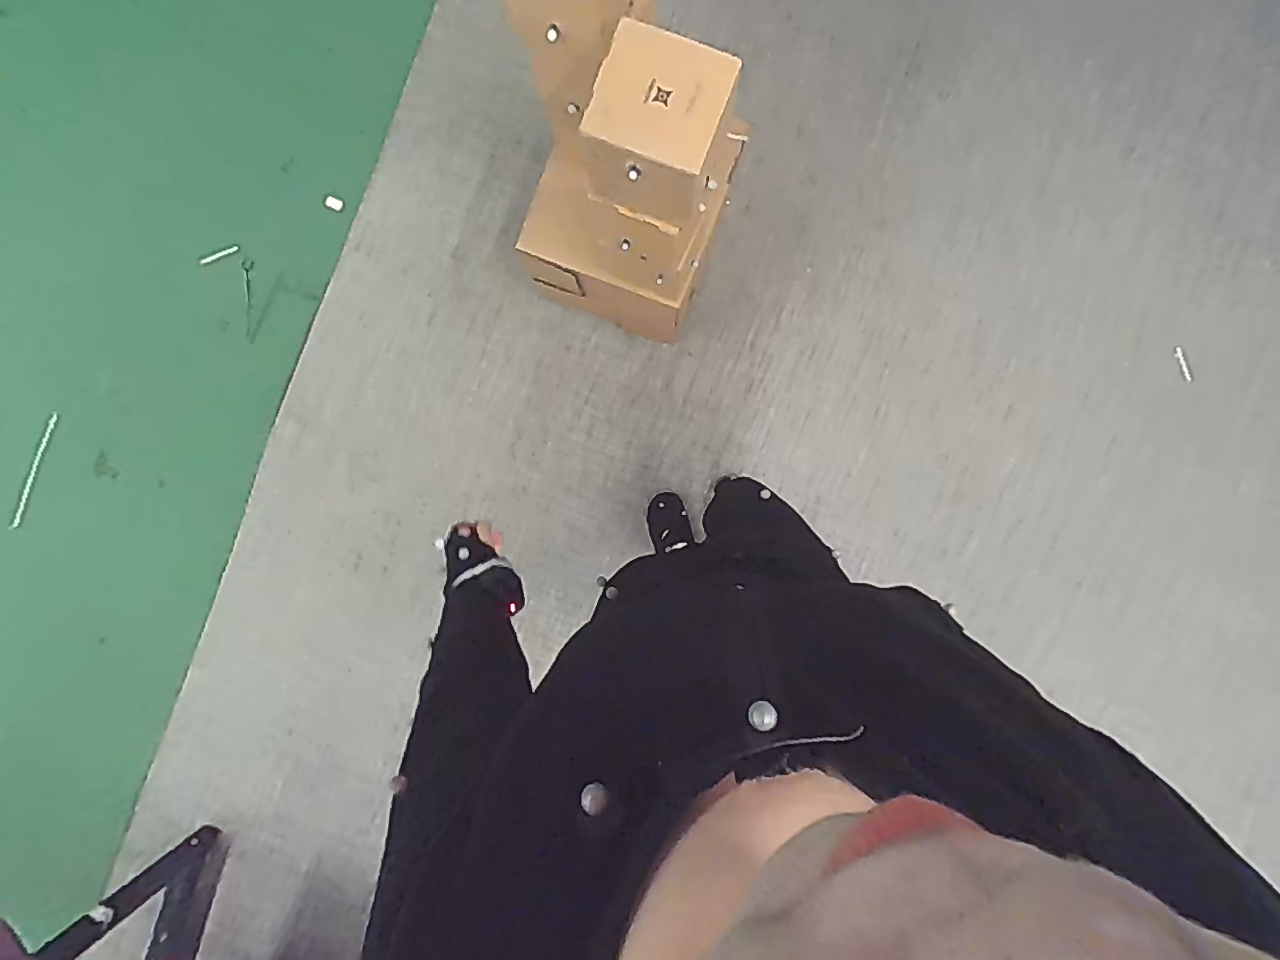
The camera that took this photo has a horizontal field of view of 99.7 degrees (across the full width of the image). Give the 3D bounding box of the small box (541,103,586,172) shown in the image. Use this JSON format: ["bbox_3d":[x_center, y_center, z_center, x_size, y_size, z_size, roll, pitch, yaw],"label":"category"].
[{"bbox_3d":[-0.089,-0.780,1.144,0.168,0.176,0.179,21,87,3],"label":"small box"}]

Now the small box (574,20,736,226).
[{"bbox_3d":[0.021,-0.510,0.801,0.179,0.176,0.168,21,91,1],"label":"small box"}]

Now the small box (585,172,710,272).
[{"bbox_3d":[0.017,-0.509,0.965,0.168,0.176,0.179,25,90,1],"label":"small box"}]
